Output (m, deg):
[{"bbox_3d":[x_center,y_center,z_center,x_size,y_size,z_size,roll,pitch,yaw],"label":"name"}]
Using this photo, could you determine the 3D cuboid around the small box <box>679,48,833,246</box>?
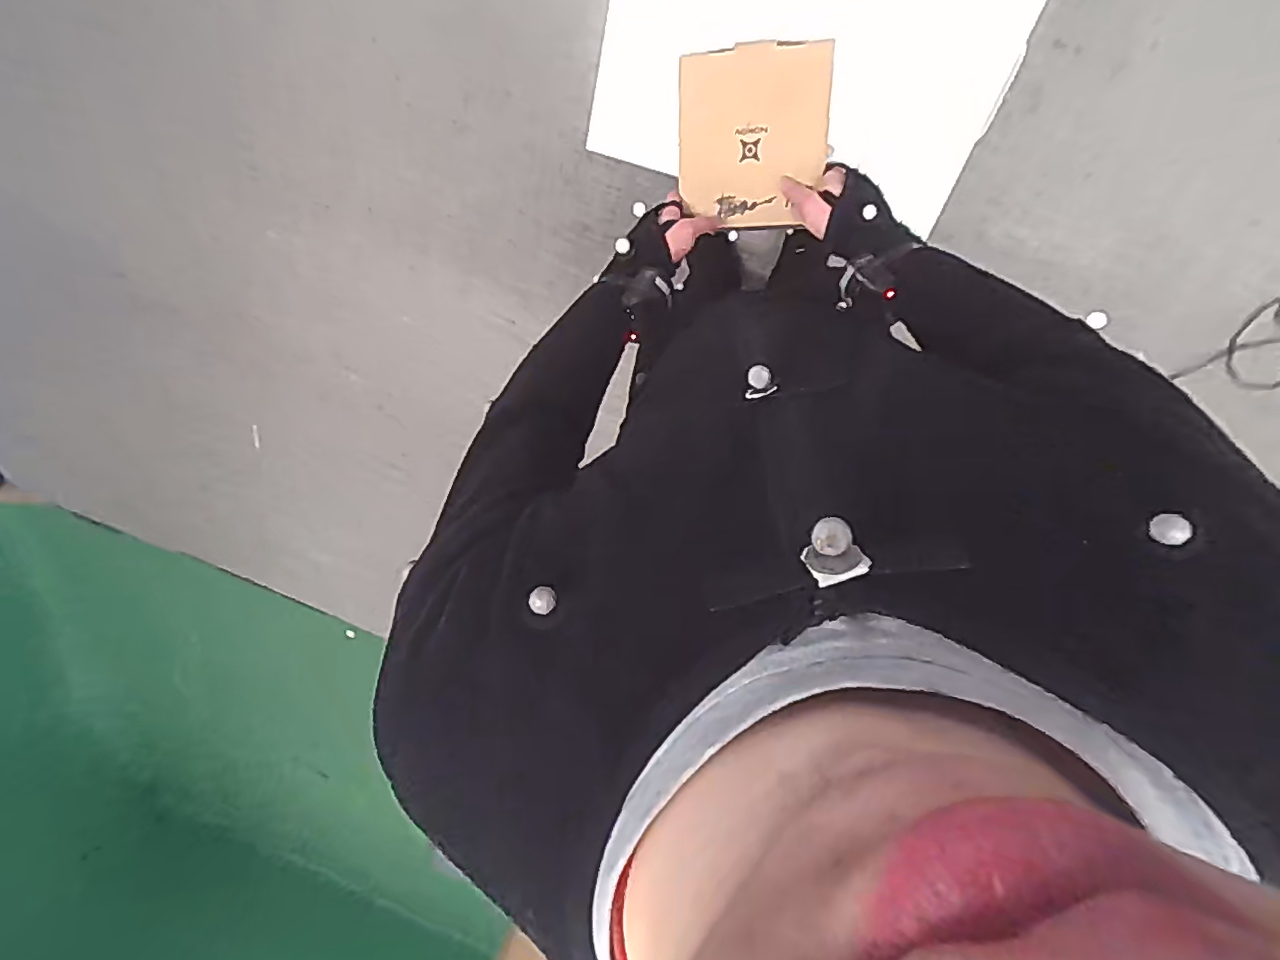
[{"bbox_3d":[0.141,-0.398,0.680,0.168,0.176,0.179,2,111,13],"label":"small box"}]
